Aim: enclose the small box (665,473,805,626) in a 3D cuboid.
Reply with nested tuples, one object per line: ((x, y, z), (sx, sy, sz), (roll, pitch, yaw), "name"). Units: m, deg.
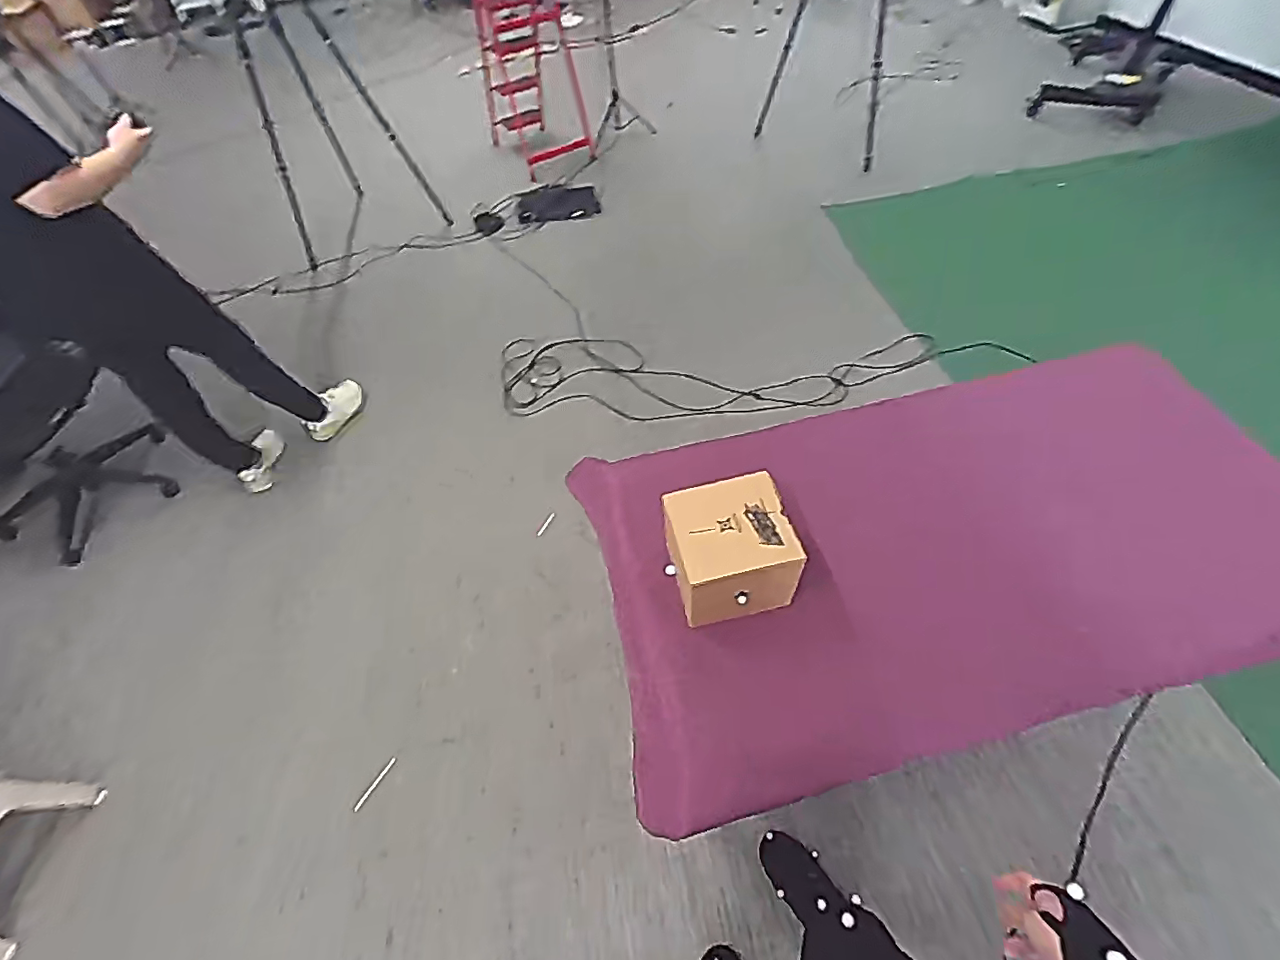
((0.144, 0.117, 0.878), (0.179, 0.176, 0.168), (-13, 53, -3), "small box")
